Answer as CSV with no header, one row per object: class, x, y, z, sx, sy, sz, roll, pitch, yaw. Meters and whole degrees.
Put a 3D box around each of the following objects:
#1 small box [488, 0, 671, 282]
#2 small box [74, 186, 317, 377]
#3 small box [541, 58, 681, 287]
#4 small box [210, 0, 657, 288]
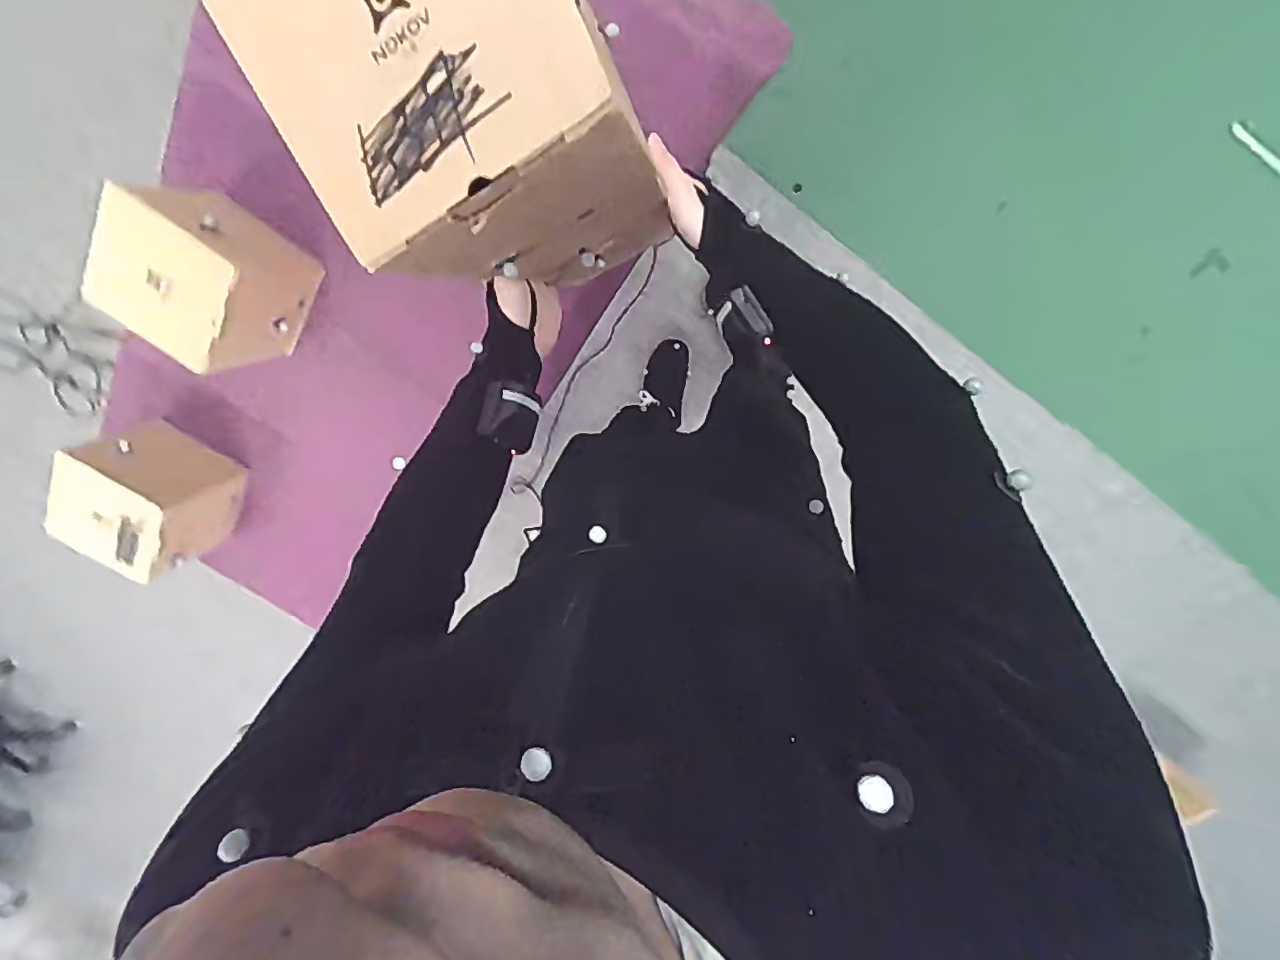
small box,-0.080,-0.293,0.489,0.168,0.176,0.179,-21,106,14
small box,-0.602,-0.269,0.751,0.179,0.176,0.168,34,111,-8
small box,-0.059,-0.344,0.643,0.168,0.176,0.179,-22,105,14
small box,-0.100,-0.238,0.335,0.168,0.176,0.179,-23,103,15
